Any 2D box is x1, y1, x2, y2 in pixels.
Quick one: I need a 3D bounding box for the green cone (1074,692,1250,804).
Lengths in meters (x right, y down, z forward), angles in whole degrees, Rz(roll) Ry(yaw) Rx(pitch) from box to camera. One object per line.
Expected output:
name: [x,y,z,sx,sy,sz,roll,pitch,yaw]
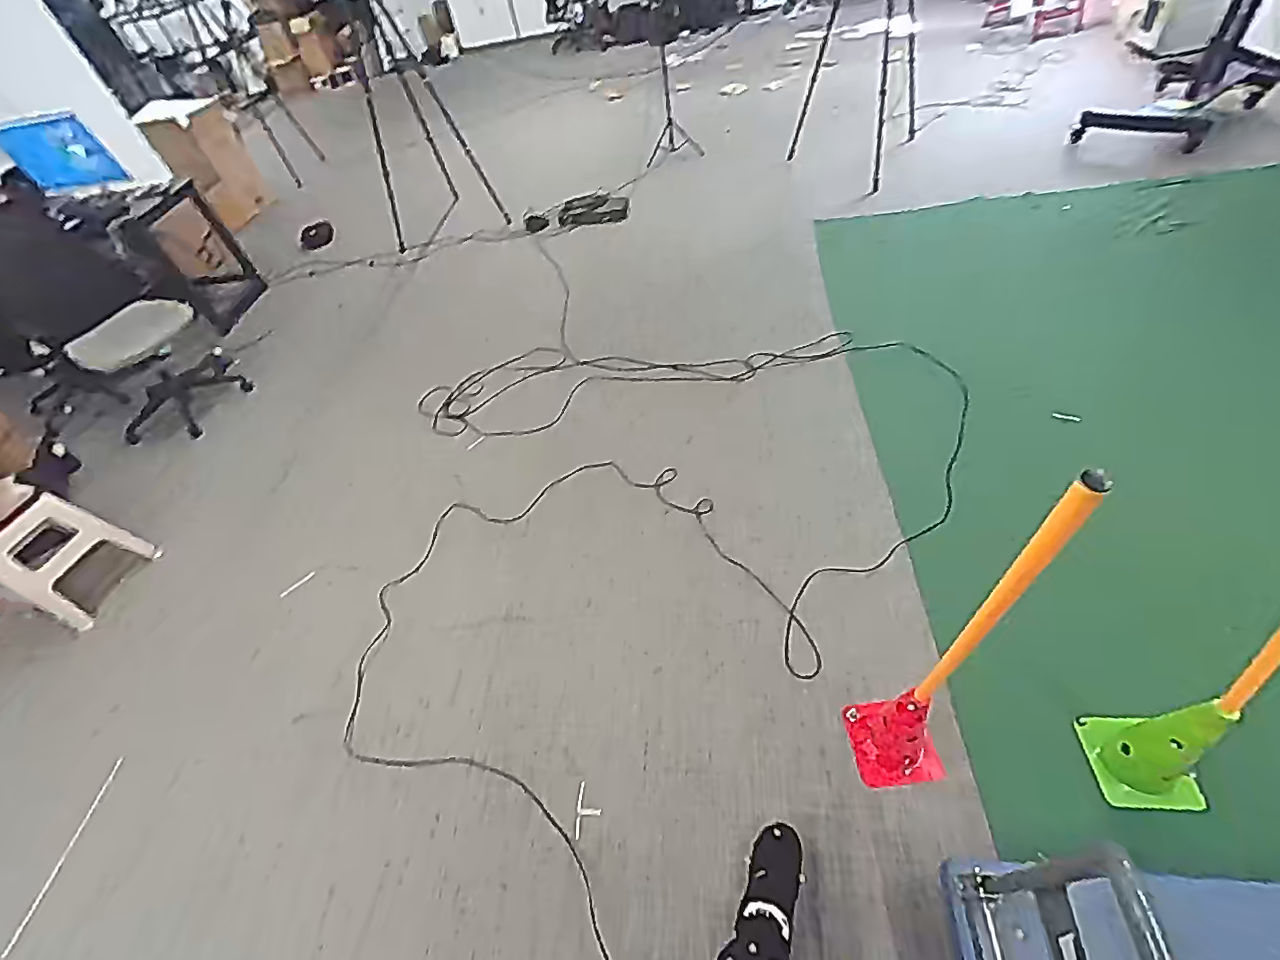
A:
green cone: [1.150,0.541,1.154,0.202,0.368,0.200,-3,49,9]
